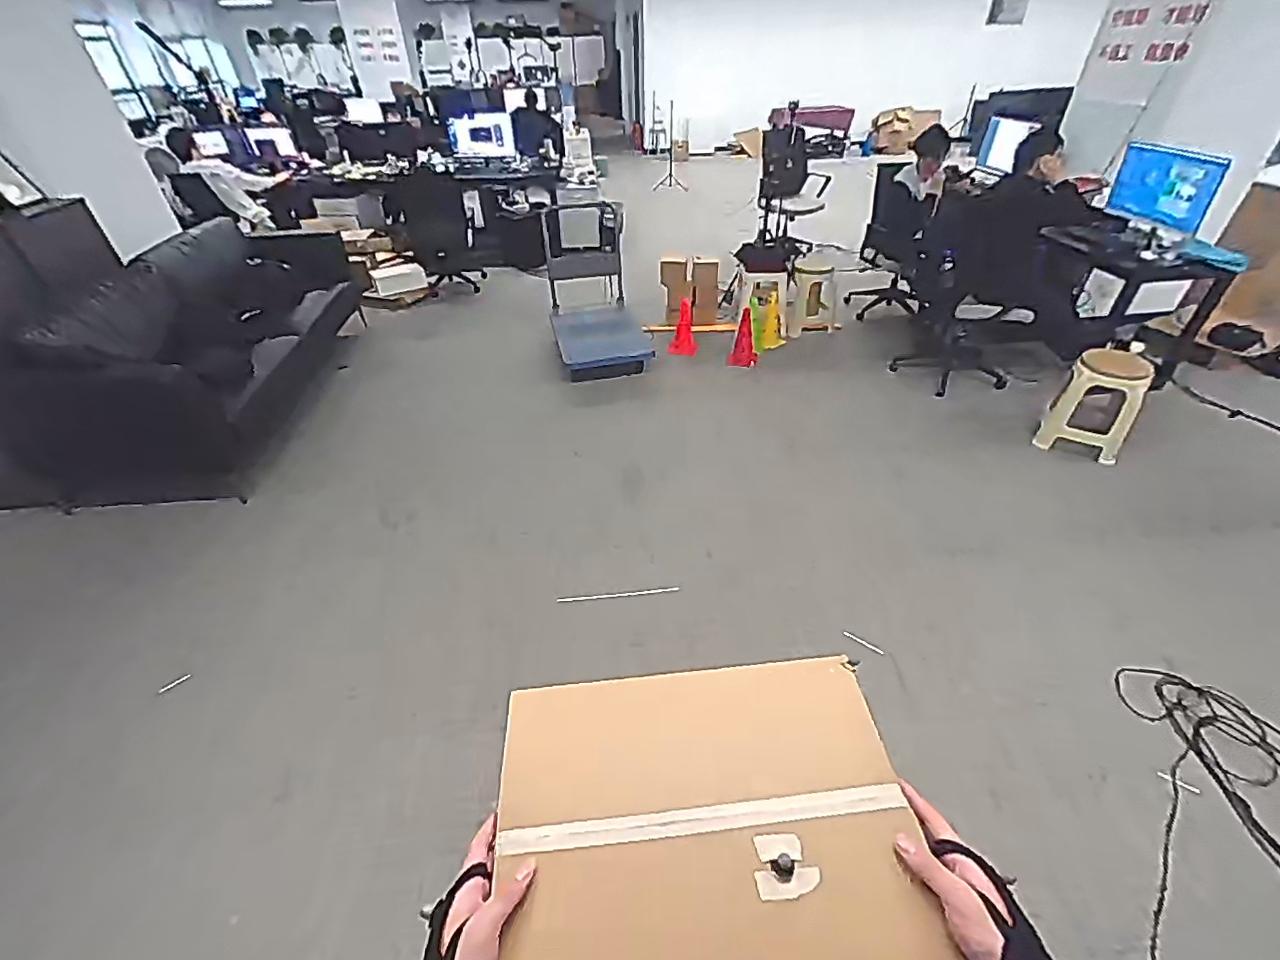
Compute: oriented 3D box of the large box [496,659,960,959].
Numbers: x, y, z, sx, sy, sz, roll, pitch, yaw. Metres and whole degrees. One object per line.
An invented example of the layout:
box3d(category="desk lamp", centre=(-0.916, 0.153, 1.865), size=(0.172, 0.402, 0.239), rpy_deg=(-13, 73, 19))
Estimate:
box3d(category="large box", centre=(0.066, 0.452, 0.642), size=(0.408, 0.320, 0.320), rpy_deg=(-5, 43, -2))
